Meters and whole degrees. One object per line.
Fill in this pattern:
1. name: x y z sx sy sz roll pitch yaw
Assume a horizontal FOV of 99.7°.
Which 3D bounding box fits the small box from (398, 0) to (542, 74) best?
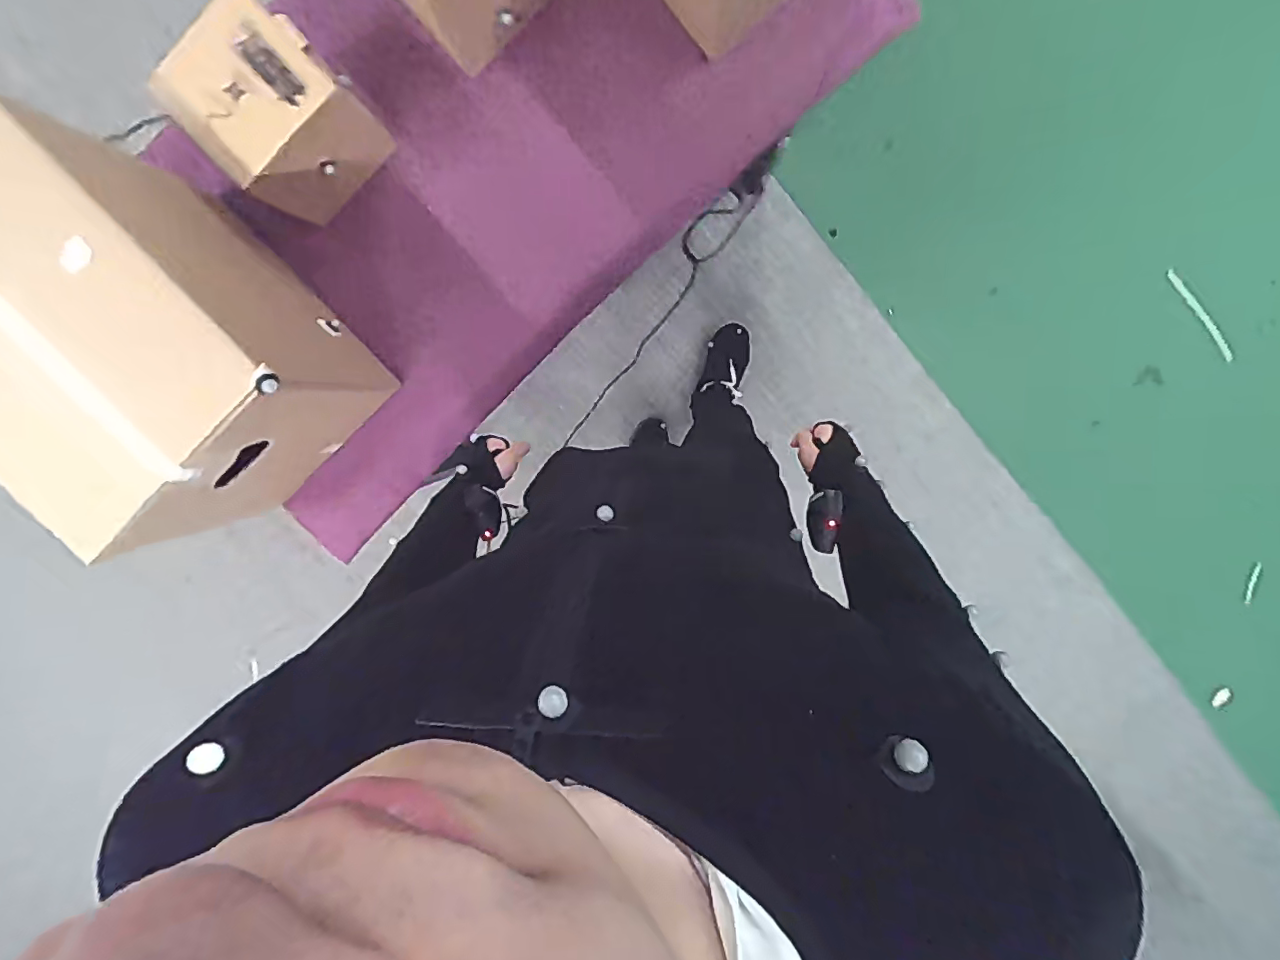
1. small box: -0.252 -0.689 0.697 0.168 0.176 0.179 -41 96 7
